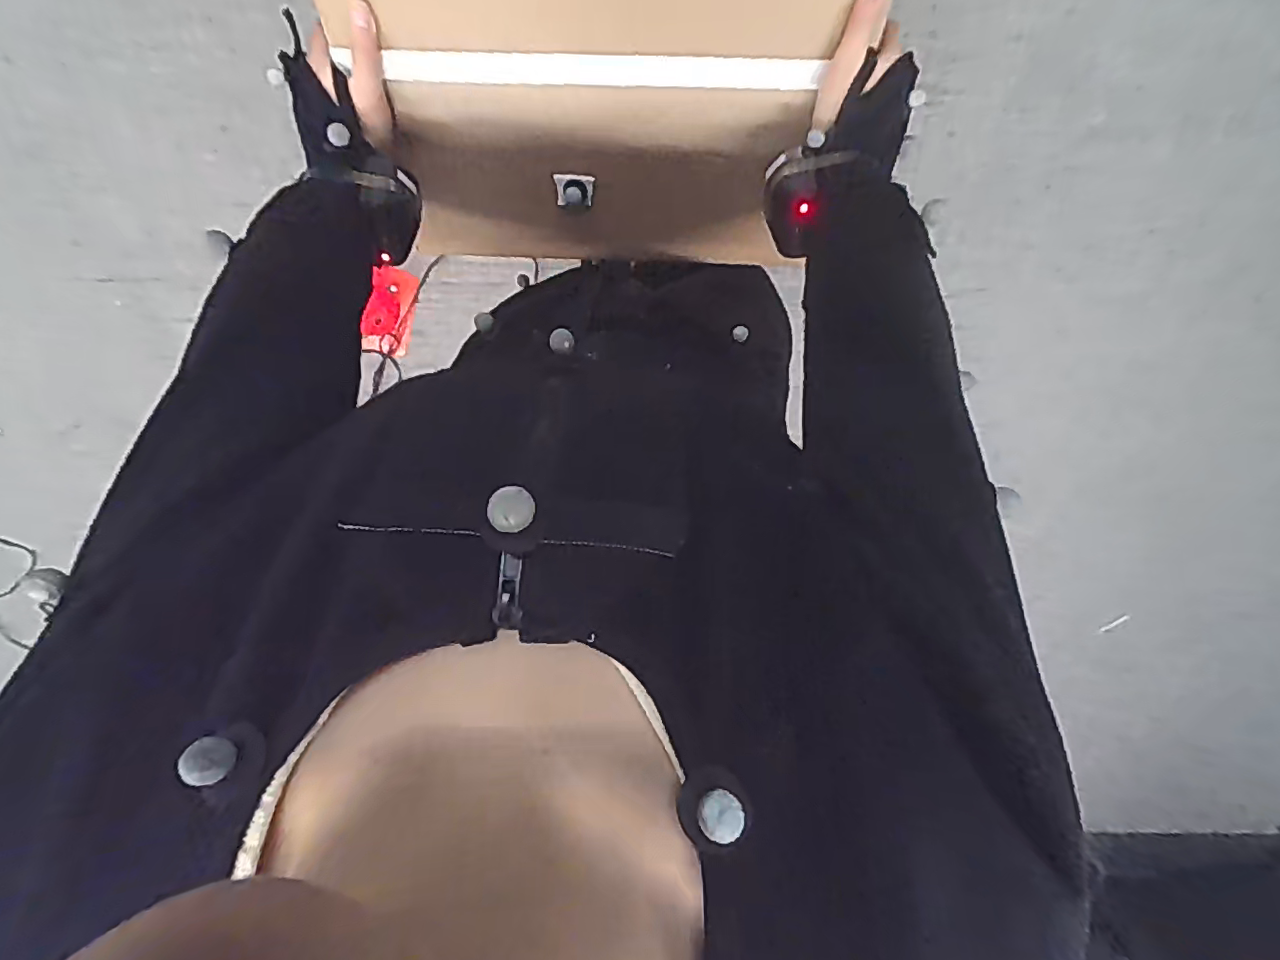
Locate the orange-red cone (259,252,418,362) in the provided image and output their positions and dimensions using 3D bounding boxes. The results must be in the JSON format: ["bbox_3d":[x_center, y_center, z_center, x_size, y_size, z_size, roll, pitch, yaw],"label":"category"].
[{"bbox_3d":[-0.618,-0.319,1.063,0.199,0.360,0.198,20,112,-7],"label":"orange-red cone"}]

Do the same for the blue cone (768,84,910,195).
[{"bbox_3d":[0.358,-0.618,0.942,0.192,0.380,0.193,1,115,-1],"label":"blue cone"}]
